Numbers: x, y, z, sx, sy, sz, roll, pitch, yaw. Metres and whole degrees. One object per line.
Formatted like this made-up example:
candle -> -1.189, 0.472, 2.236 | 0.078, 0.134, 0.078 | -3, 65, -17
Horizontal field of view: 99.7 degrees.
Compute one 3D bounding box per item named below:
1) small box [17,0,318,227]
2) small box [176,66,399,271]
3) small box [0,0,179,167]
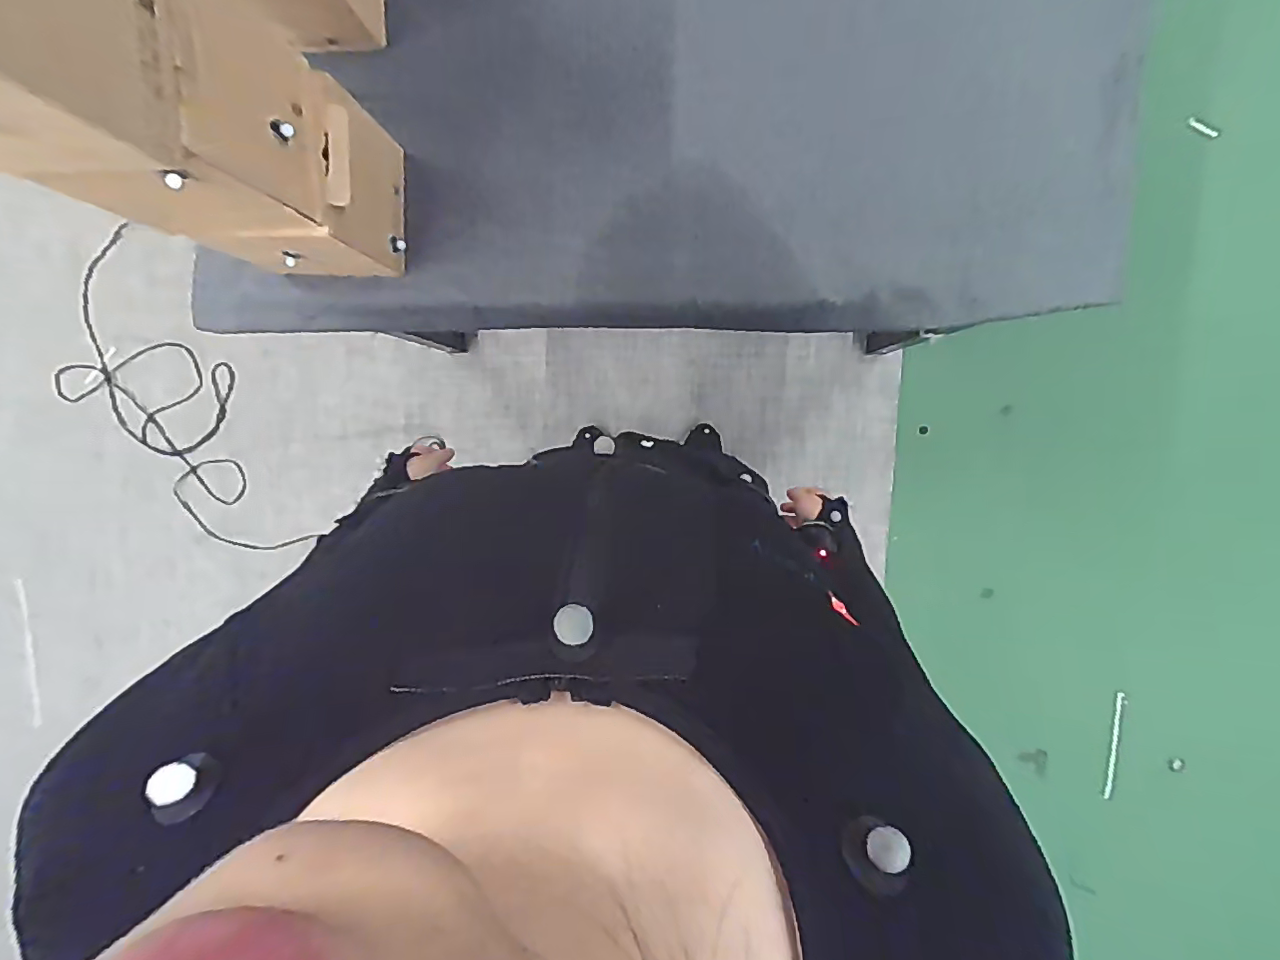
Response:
small box -> -0.429, -0.340, 0.484 | 0.179, 0.176, 0.168 | -2, 97, 2
small box -> -0.406, -0.356, 0.645 | 0.179, 0.176, 0.168 | 3, 97, 3
small box -> -0.435, -0.309, 0.323 | 0.179, 0.176, 0.168 | 0, 97, 3
